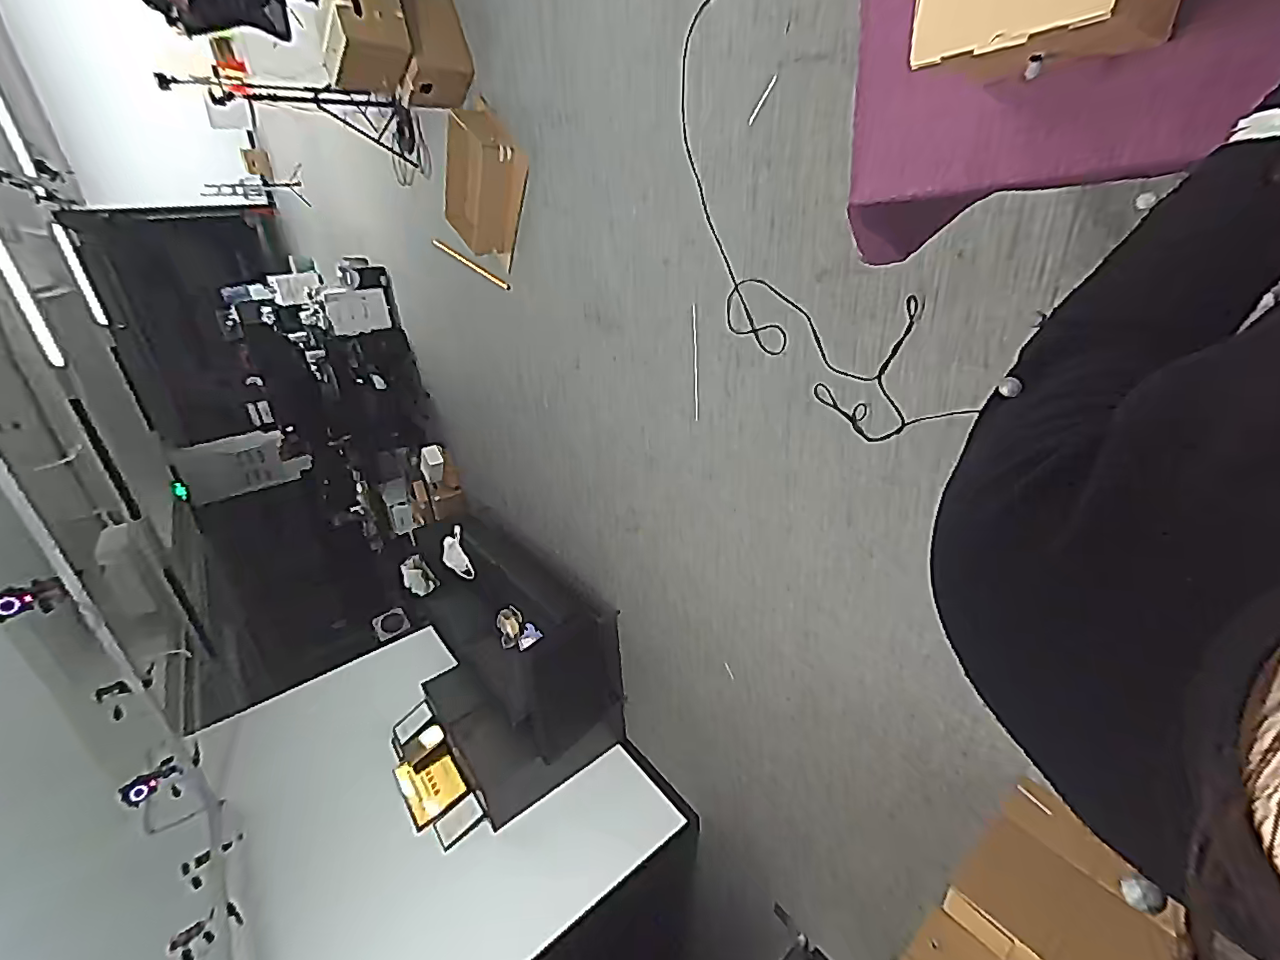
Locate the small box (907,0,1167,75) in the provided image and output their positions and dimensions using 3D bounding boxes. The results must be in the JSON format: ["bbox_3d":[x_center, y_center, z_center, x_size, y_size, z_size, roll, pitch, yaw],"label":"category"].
[{"bbox_3d":[0.377,-0.492,0.494,0.168,0.176,0.179,26,129,45],"label":"small box"}]

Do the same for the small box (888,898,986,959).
[{"bbox_3d":[0.781,1.268,1.439,0.179,0.176,0.168,24,128,45],"label":"small box"}]
